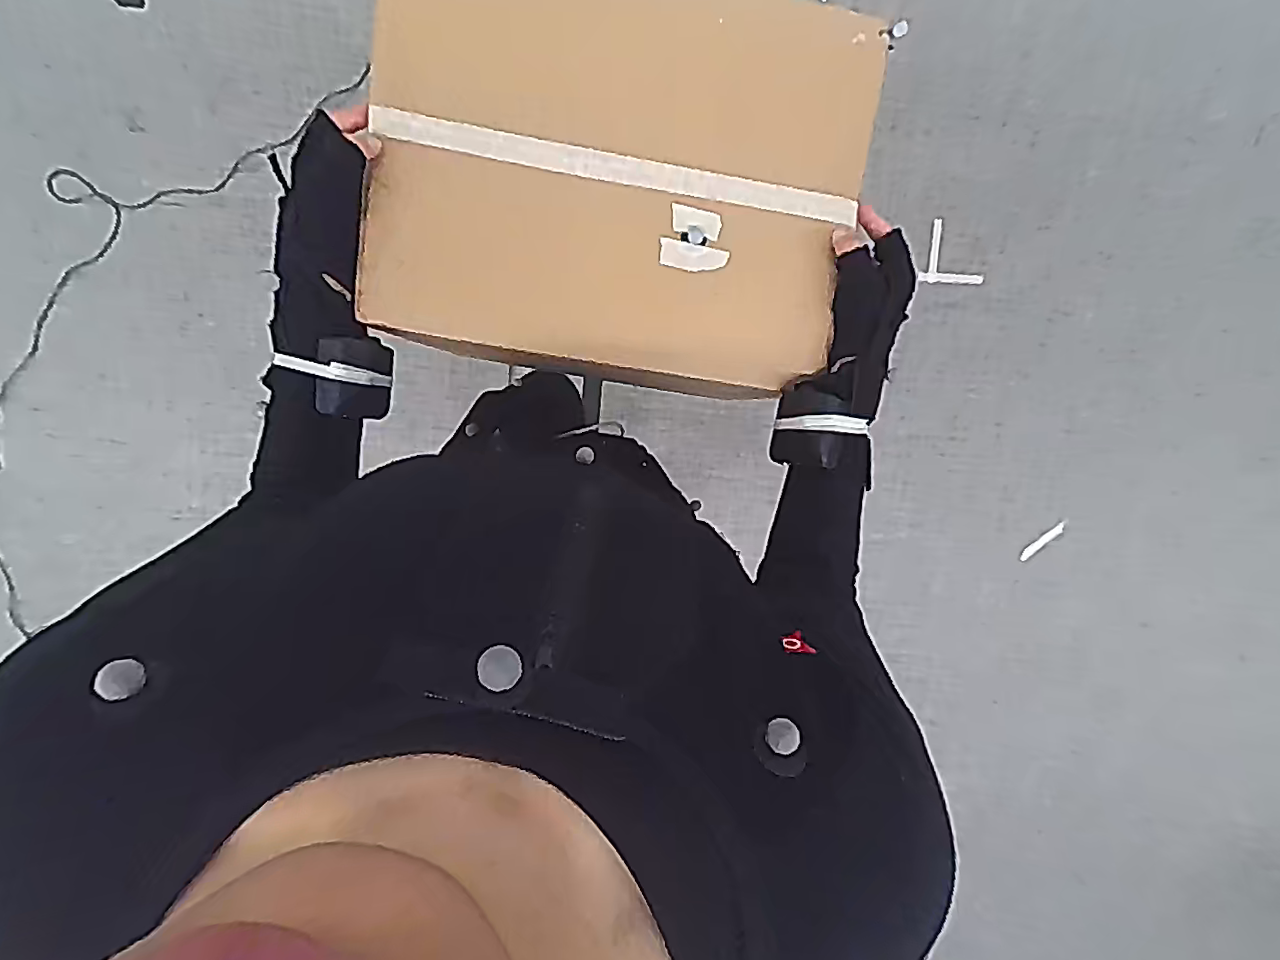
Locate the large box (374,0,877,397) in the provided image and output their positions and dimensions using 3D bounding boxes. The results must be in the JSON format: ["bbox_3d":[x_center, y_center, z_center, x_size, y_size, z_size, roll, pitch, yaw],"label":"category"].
[{"bbox_3d":[-0.027,-0.275,0.605,0.408,0.320,0.320,8,98,-7],"label":"large box"}]
